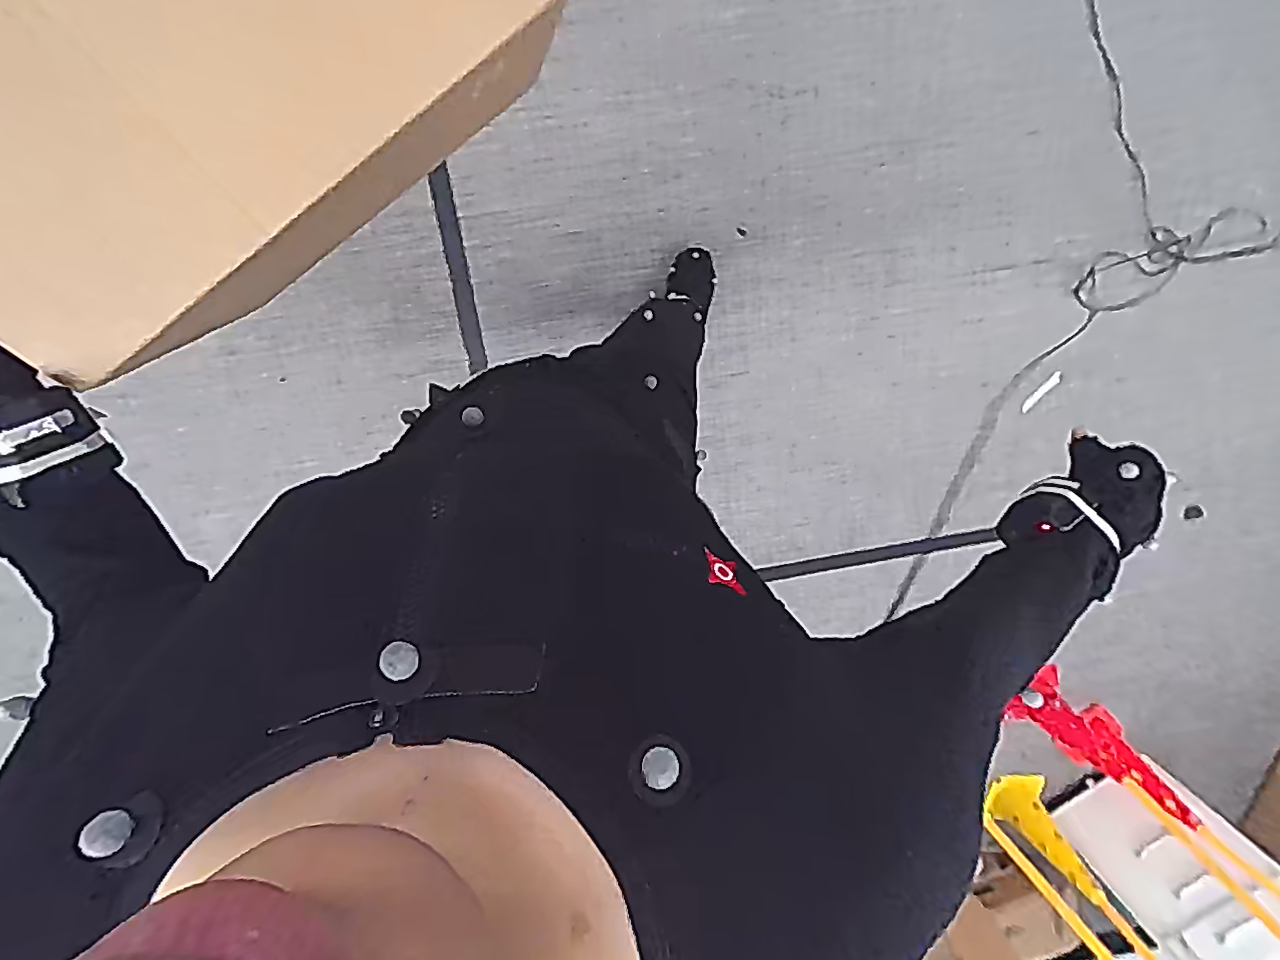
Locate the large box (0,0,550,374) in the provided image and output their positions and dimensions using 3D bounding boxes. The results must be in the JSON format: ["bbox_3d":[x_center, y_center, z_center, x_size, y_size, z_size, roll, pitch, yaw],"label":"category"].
[{"bbox_3d":[-0.321,-0.349,0.397,0.408,0.320,0.320,-37,120,4],"label":"large box"}]
